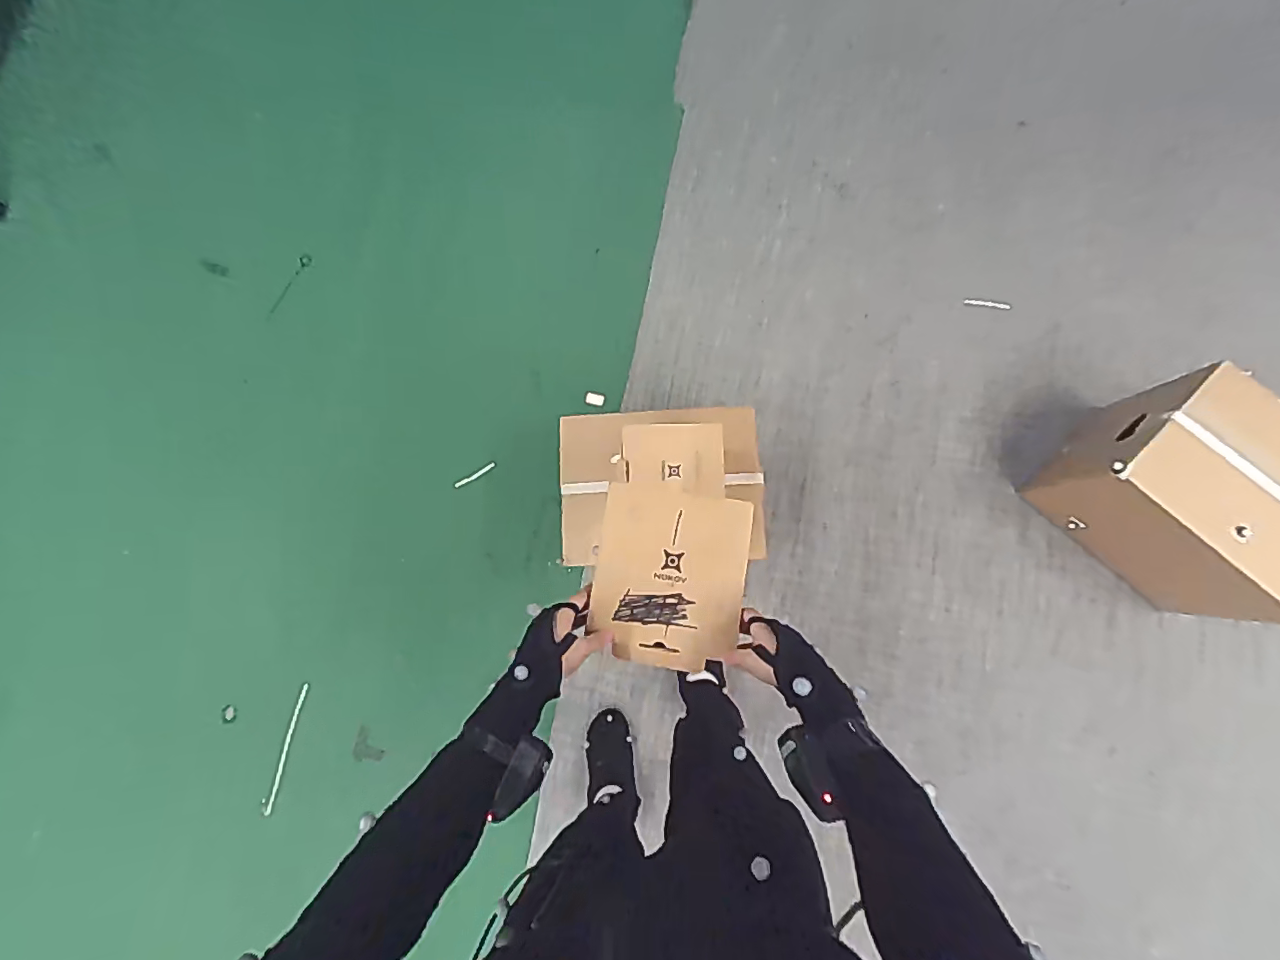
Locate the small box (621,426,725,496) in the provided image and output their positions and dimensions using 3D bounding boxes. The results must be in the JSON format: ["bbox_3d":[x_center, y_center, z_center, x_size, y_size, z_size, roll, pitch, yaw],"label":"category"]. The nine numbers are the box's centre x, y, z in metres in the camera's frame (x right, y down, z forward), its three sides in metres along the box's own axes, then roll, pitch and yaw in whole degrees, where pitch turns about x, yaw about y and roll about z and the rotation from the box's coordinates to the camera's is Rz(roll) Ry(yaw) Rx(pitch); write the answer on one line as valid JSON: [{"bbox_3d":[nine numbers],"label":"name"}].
[{"bbox_3d":[0.062,0.001,0.984,0.179,0.176,0.168,0,82,5],"label":"small box"}]

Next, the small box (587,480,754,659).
[{"bbox_3d":[0.039,0.108,0.672,0.168,0.176,0.179,8,80,4],"label":"small box"}]

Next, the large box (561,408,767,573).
[{"bbox_3d":[0.058,0.043,1.229,0.408,0.320,0.320,-4,79,6],"label":"large box"}]
